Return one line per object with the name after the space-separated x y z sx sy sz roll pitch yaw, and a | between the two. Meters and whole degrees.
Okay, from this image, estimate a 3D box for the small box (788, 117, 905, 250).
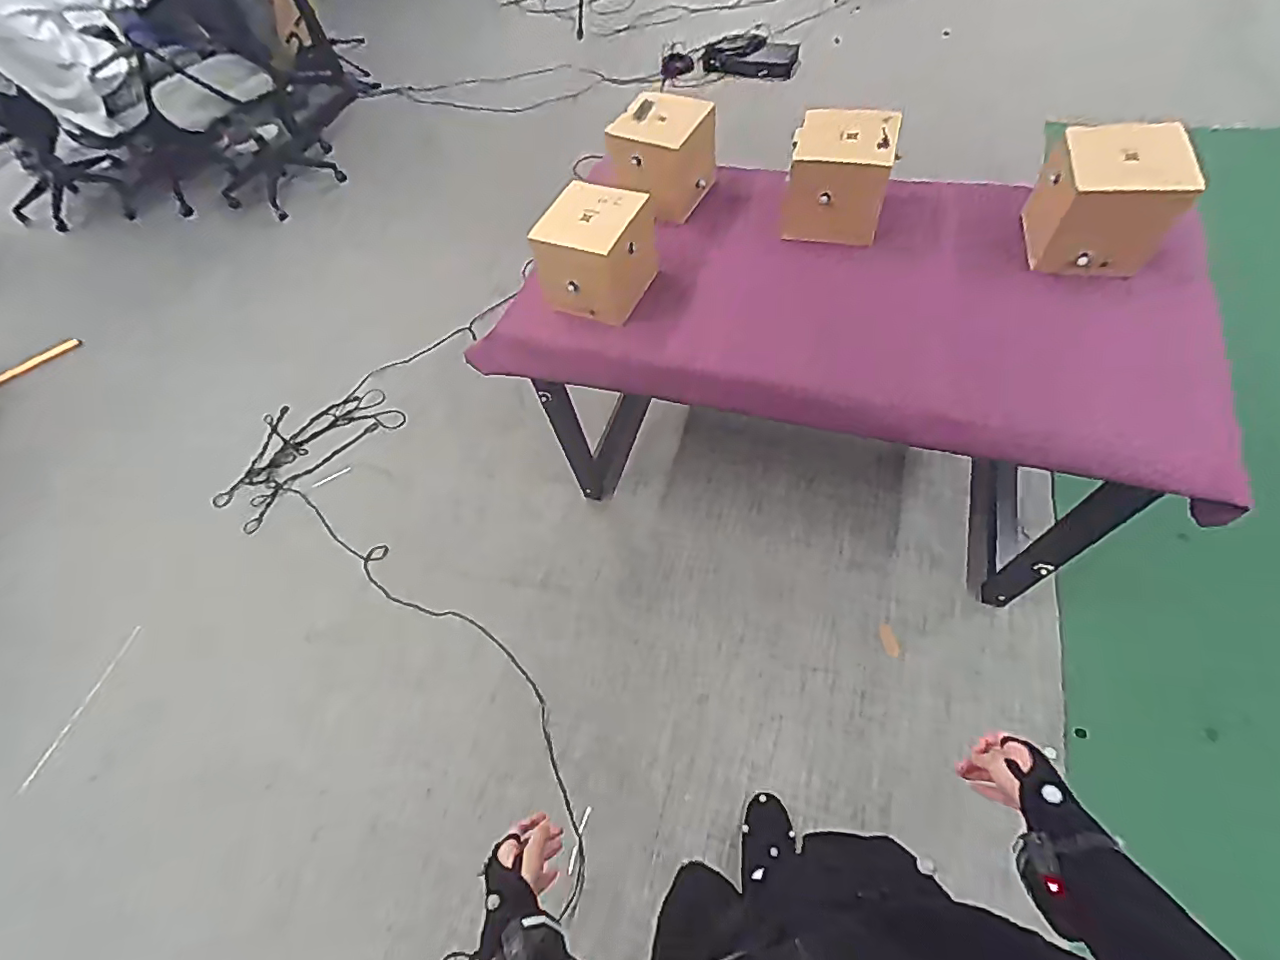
0.394 -0.573 1.053 0.179 0.176 0.168 13 64 16 | small box

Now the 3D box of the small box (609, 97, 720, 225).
0.058 -0.682 1.165 0.179 0.176 0.168 26 68 20 | small box

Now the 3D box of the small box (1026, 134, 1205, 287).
0.793 -0.460 0.927 0.168 0.176 0.179 8 63 15 | small box

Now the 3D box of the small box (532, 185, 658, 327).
-0.074 -0.423 1.032 0.168 0.176 0.179 21 65 19 | small box
